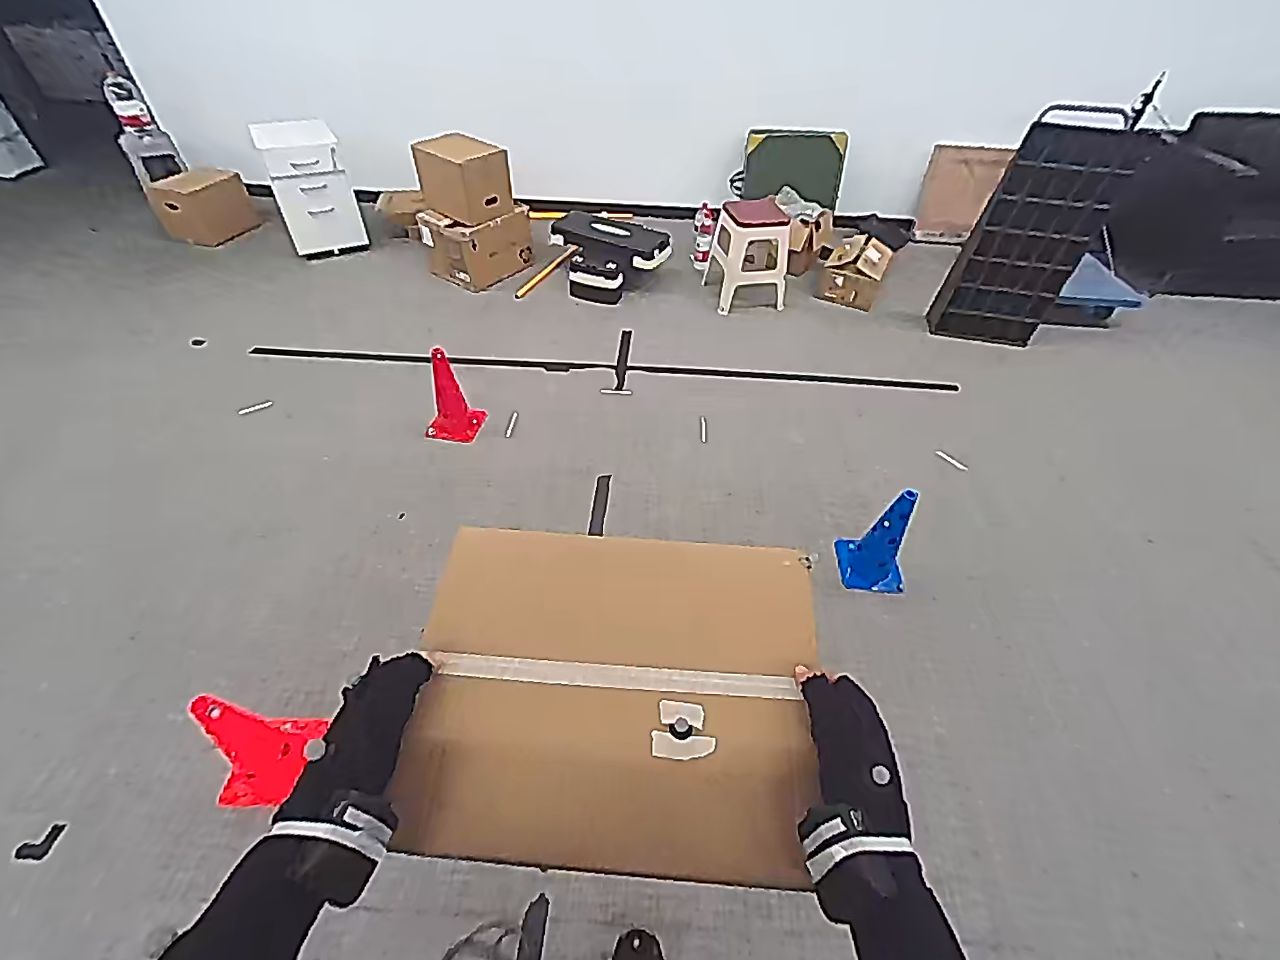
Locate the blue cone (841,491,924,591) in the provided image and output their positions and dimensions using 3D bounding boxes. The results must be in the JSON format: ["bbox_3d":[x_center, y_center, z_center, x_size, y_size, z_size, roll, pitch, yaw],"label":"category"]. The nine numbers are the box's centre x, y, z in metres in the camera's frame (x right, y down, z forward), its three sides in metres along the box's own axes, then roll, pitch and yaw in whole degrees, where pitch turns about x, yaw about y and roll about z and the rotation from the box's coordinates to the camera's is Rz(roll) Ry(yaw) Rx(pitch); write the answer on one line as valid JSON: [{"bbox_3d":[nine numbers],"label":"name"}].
[{"bbox_3d":[0.788,0.173,1.701,0.192,0.380,0.193,7,46,2],"label":"blue cone"}]

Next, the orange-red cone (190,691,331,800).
[{"bbox_3d":[-0.889,0.566,1.216,0.198,0.360,0.199,1,47,0],"label":"orange-red cone"}]

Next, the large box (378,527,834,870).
[{"bbox_3d":[-0.025,0.277,0.668,0.408,0.320,0.320,4,55,2],"label":"large box"}]

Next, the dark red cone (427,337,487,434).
[{"bbox_3d":[-0.739,-0.374,2.103,0.201,0.394,0.202,9,46,4],"label":"dark red cone"}]
